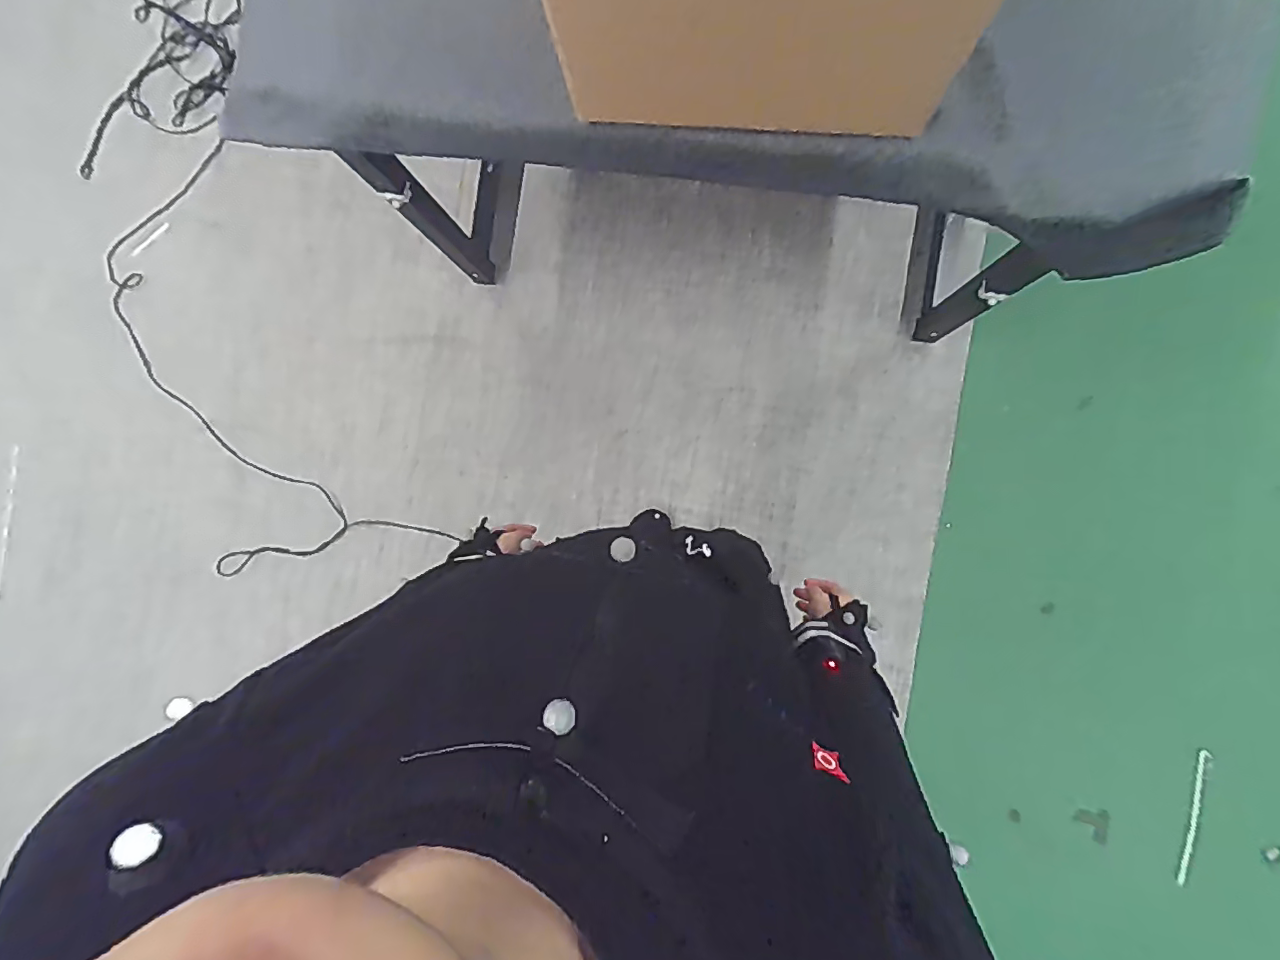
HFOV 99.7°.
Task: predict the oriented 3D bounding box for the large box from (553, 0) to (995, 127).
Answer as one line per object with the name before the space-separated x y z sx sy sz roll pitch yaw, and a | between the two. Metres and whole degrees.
large box | 0.126 -0.578 0.498 0.408 0.320 0.320 6 89 4
